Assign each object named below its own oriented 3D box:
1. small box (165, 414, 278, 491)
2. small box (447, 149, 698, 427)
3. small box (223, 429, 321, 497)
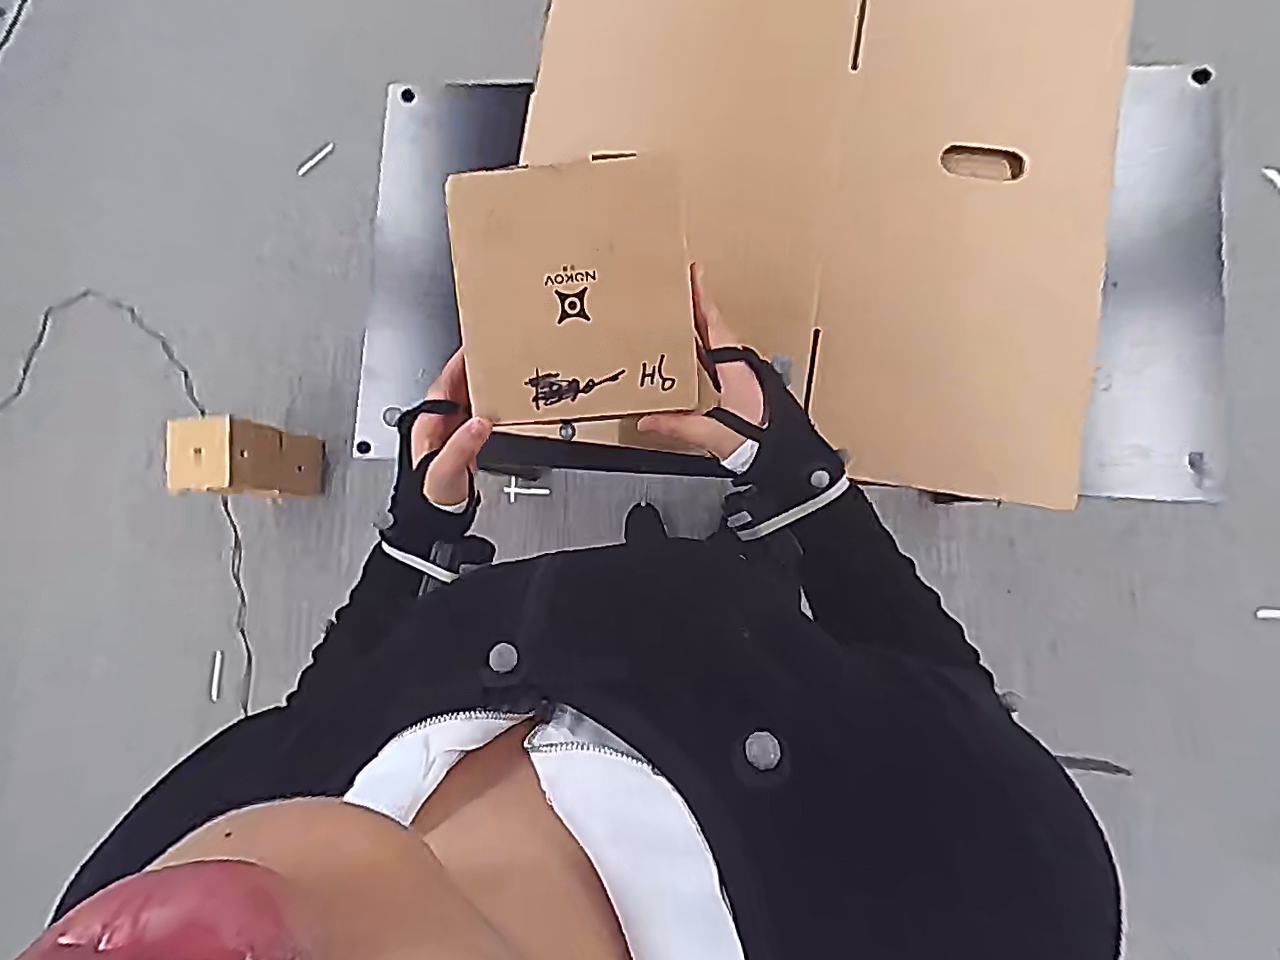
[{"bbox_3d":[-1.058,-0.063,1.380,0.168,0.176,0.179,-4,84,5],"label":"small box"},{"bbox_3d":[-0.042,-0.138,0.453,0.168,0.176,0.179,-5,96,5],"label":"small box"},{"bbox_3d":[-1.041,-0.045,1.540,0.168,0.176,0.179,-1,86,6],"label":"small box"}]
